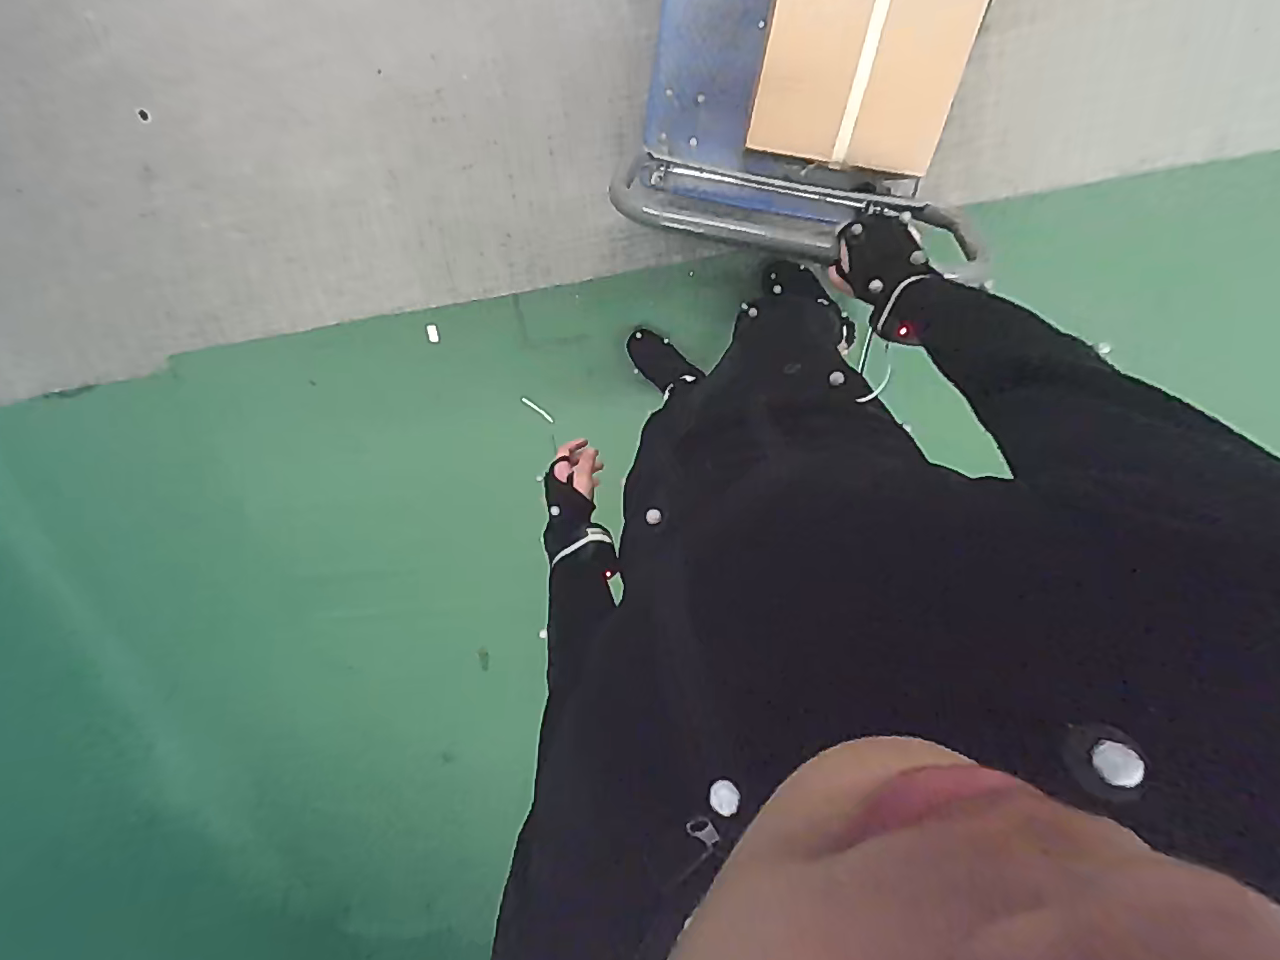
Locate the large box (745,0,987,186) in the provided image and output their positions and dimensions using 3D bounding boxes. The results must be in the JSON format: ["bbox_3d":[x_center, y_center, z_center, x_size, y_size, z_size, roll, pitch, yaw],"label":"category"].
[{"bbox_3d":[0.387,-0.781,0.978,0.320,0.320,0.408,11,119,1],"label":"large box"}]
